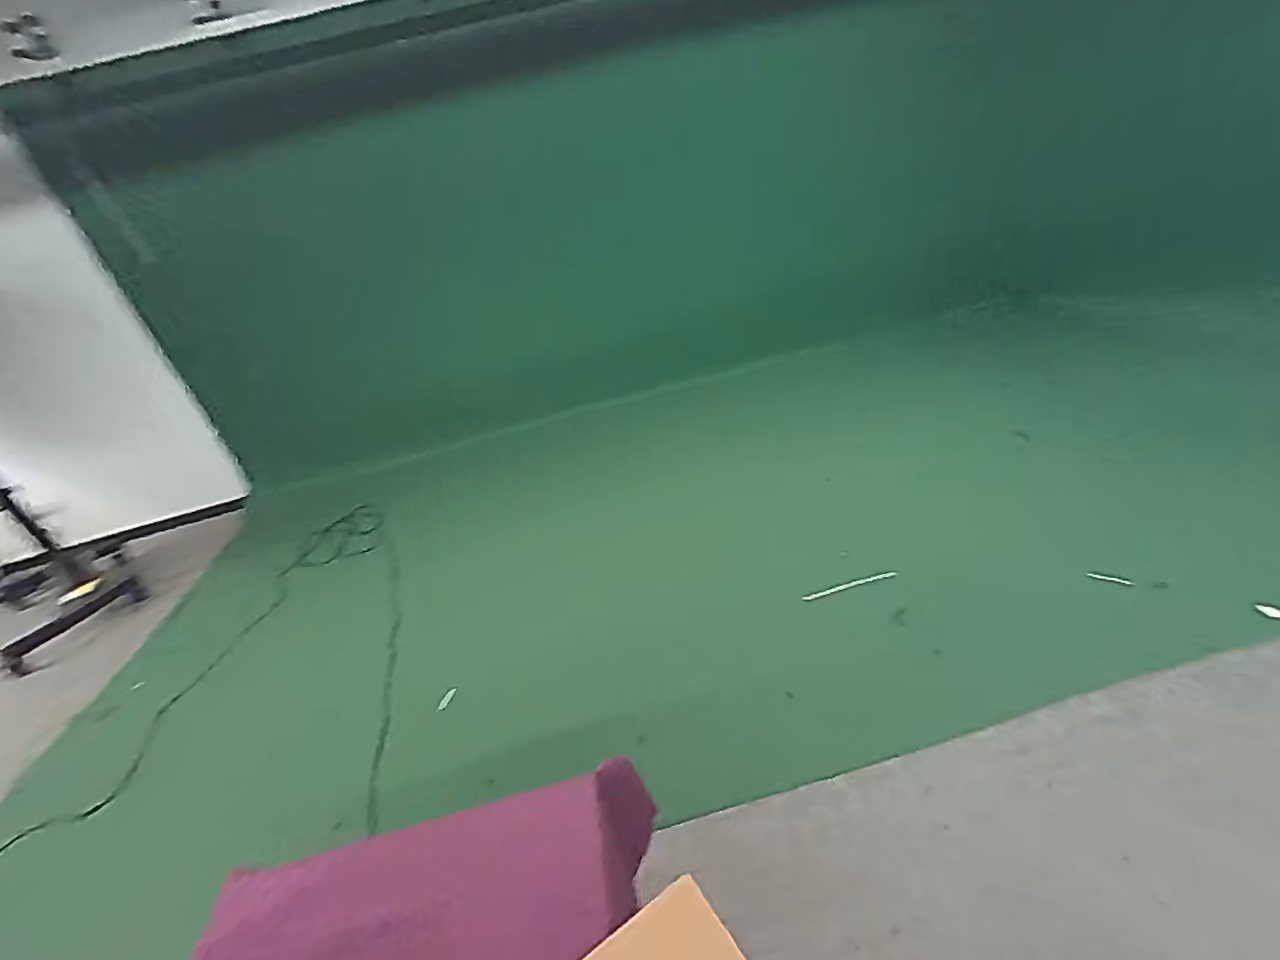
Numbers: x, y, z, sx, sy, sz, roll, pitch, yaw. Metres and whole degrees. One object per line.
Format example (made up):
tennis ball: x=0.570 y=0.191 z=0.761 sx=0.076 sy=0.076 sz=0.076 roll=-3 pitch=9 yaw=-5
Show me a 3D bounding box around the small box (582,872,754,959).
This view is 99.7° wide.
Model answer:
small box: x=0.021 y=0.442 z=0.382 sx=0.179 sy=0.176 sz=0.168 roll=-22 pitch=38 yaw=-25
